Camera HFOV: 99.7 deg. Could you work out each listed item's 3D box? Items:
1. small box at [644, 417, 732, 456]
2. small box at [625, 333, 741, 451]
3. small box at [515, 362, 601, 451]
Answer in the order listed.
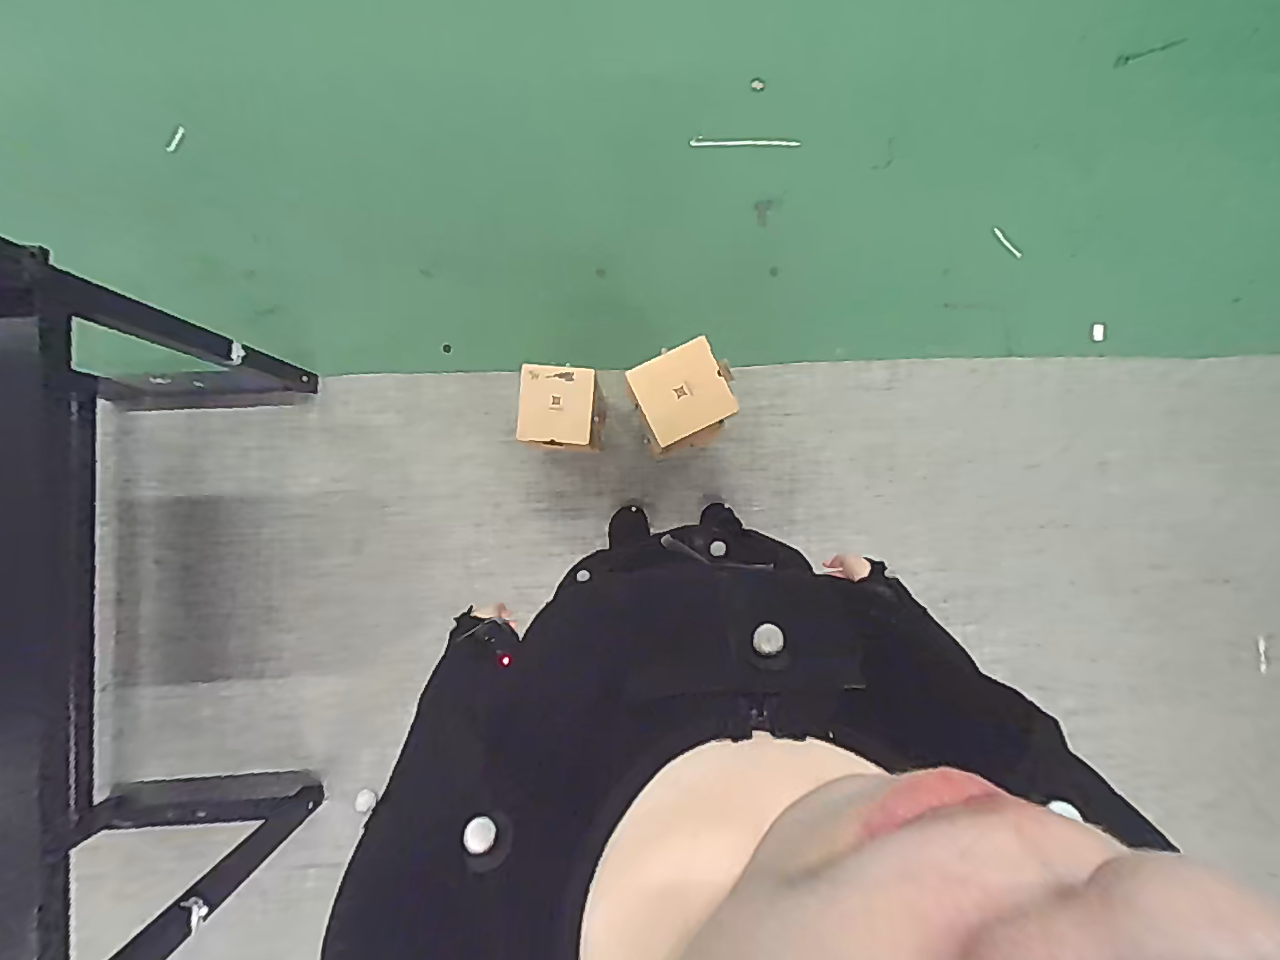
[{"bbox_3d":[0.094,-0.161,1.272,0.179,0.176,0.168,-22,90,-3],"label":"small box"},{"bbox_3d":[0.082,-0.170,1.108,0.179,0.176,0.168,-26,90,-2],"label":"small box"},{"bbox_3d":[-0.184,-0.164,1.263,0.168,0.176,0.179,5,88,0],"label":"small box"}]
